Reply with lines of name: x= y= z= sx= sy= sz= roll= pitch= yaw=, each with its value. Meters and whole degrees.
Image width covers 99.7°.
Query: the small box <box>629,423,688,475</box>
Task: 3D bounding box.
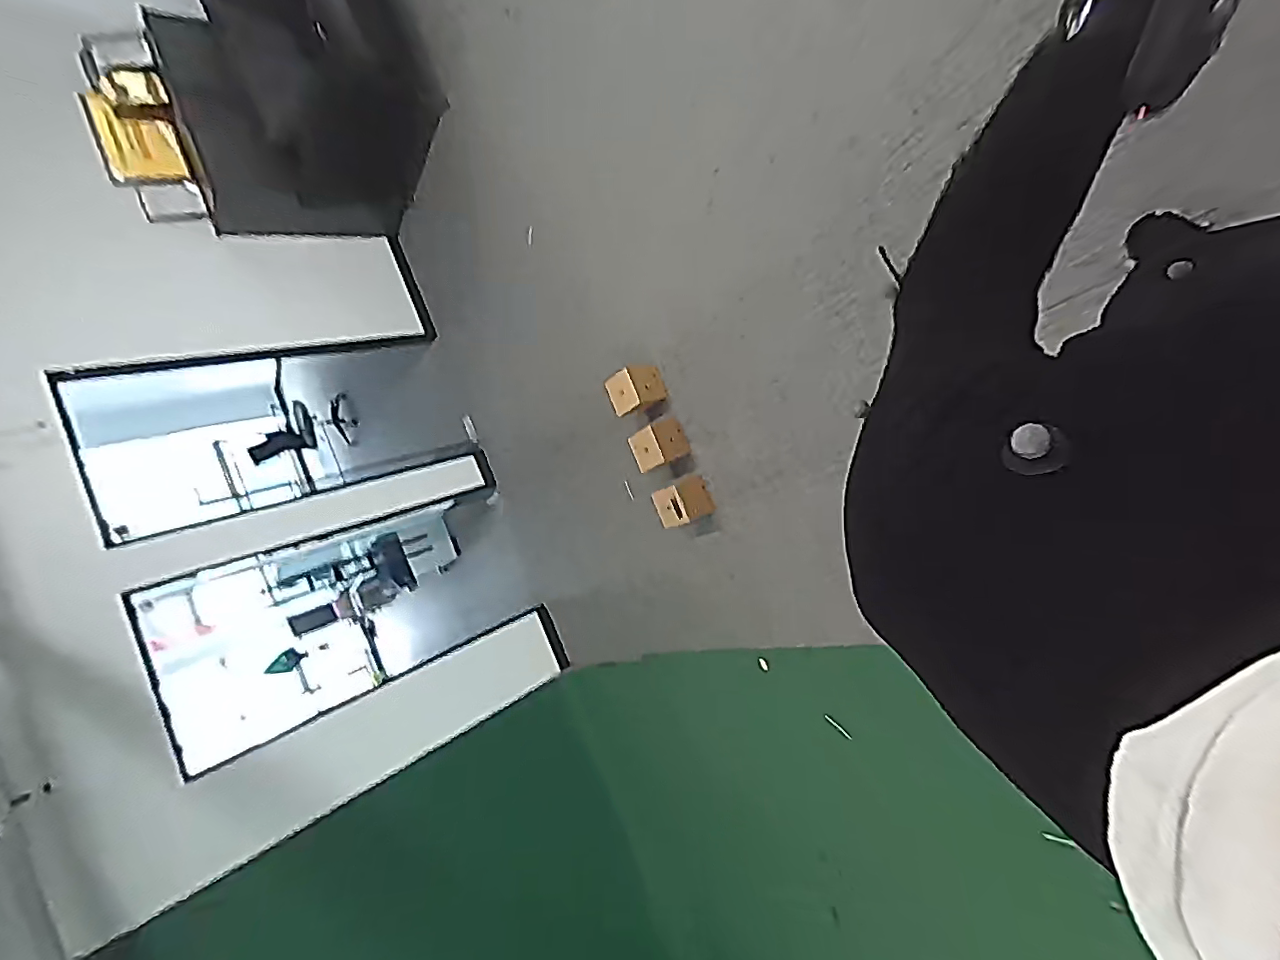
small box: x=0.088 y=-0.138 z=2.361 sx=0.179 sy=0.176 sz=0.168 roll=-27 pitch=84 yaw=51

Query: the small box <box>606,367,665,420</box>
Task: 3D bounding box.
small box: x=-0.012 y=-0.385 z=2.382 sx=0.179 sy=0.176 sz=0.168 roll=-27 pitch=85 yaw=51
